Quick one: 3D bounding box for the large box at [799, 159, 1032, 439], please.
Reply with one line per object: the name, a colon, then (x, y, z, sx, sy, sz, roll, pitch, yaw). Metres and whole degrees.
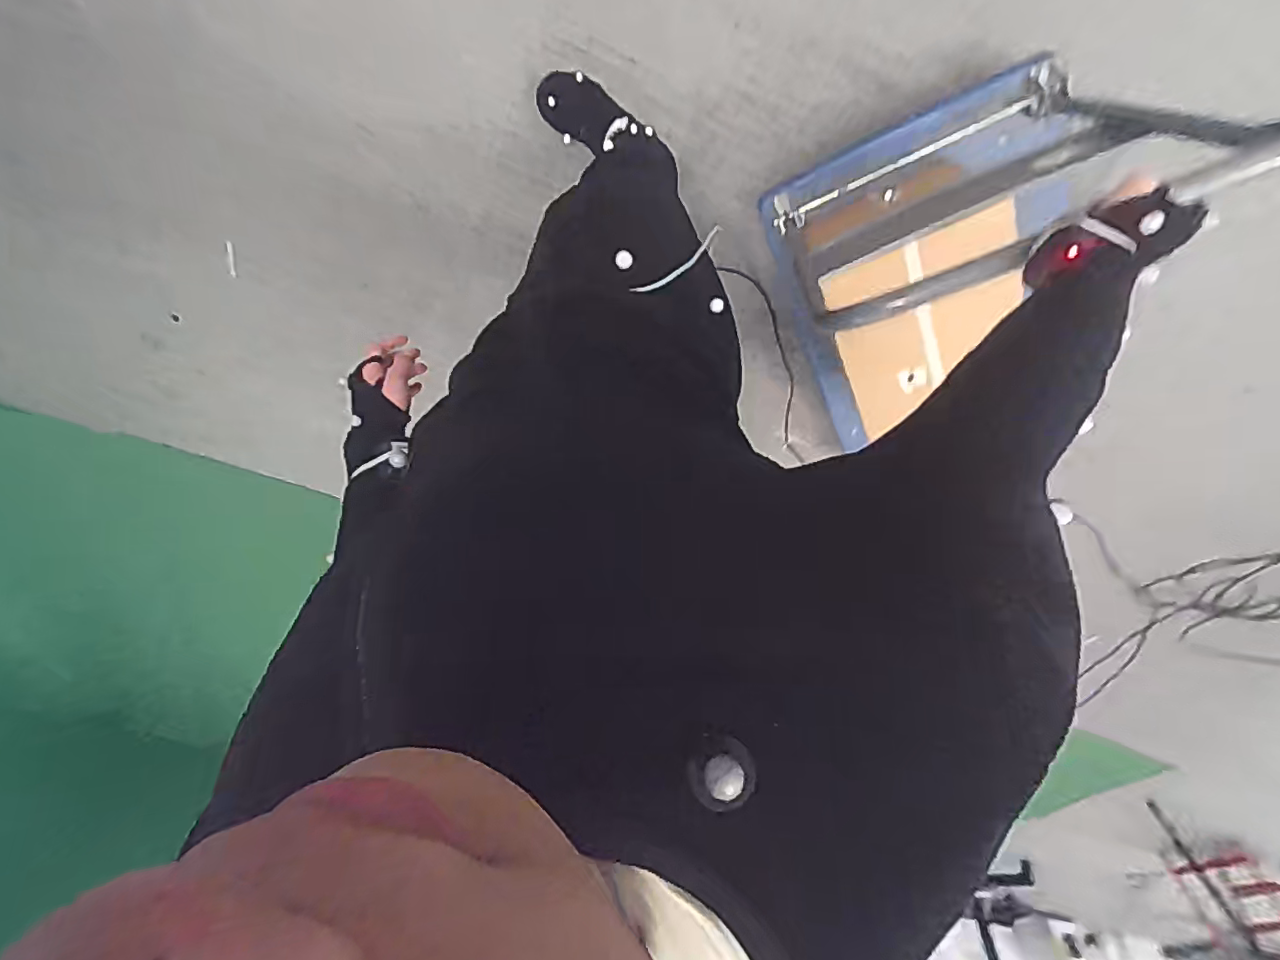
large box: (0.562, -0.368, 1.131, 0.320, 0.320, 0.408, -18, 127, 21)
